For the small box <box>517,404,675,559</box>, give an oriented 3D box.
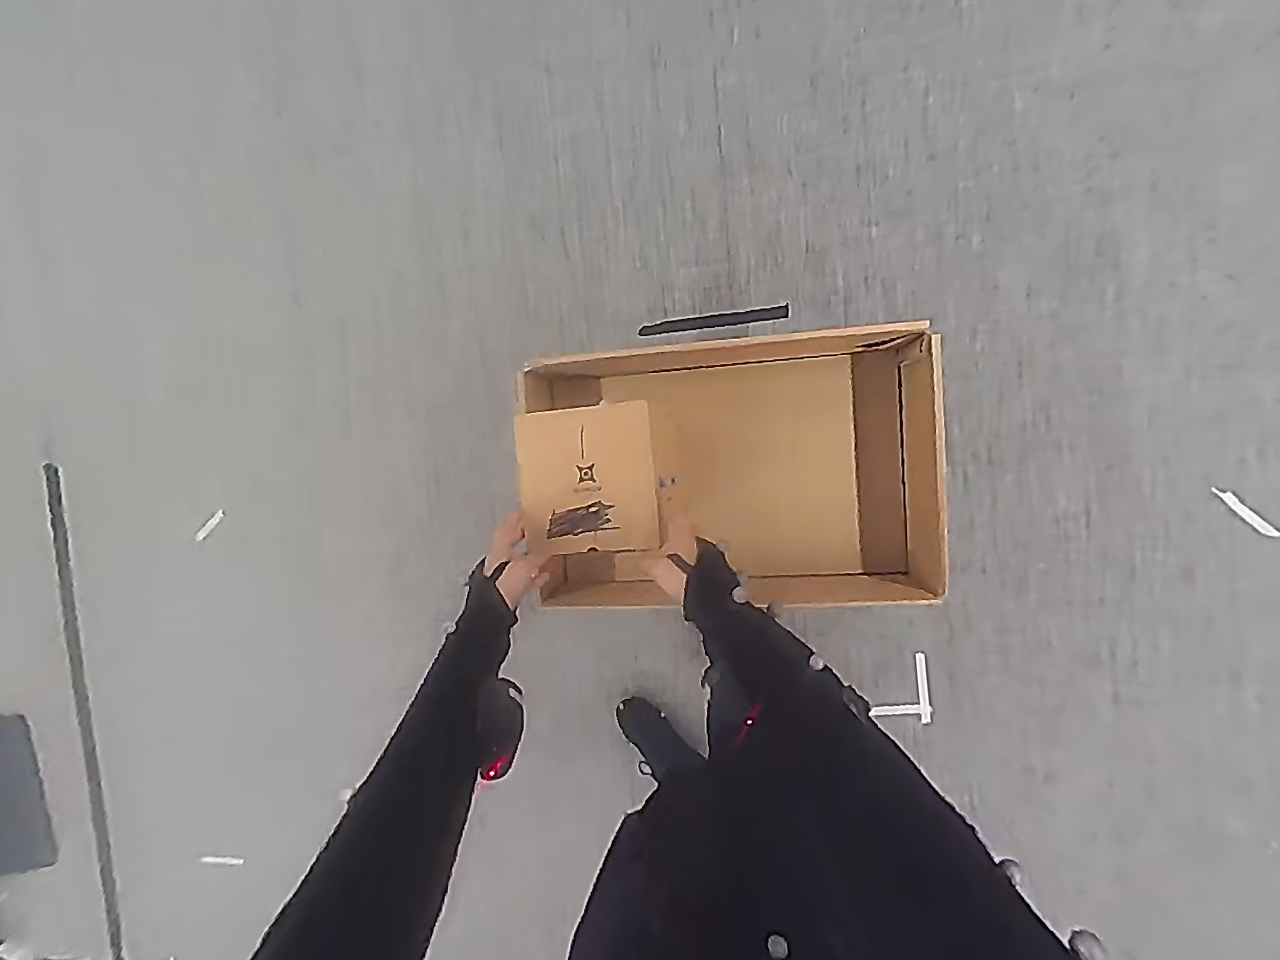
[{"bbox_3d":[-0.047,-0.001,0.713,0.168,0.176,0.179,-5,92,9],"label":"small box"}]
